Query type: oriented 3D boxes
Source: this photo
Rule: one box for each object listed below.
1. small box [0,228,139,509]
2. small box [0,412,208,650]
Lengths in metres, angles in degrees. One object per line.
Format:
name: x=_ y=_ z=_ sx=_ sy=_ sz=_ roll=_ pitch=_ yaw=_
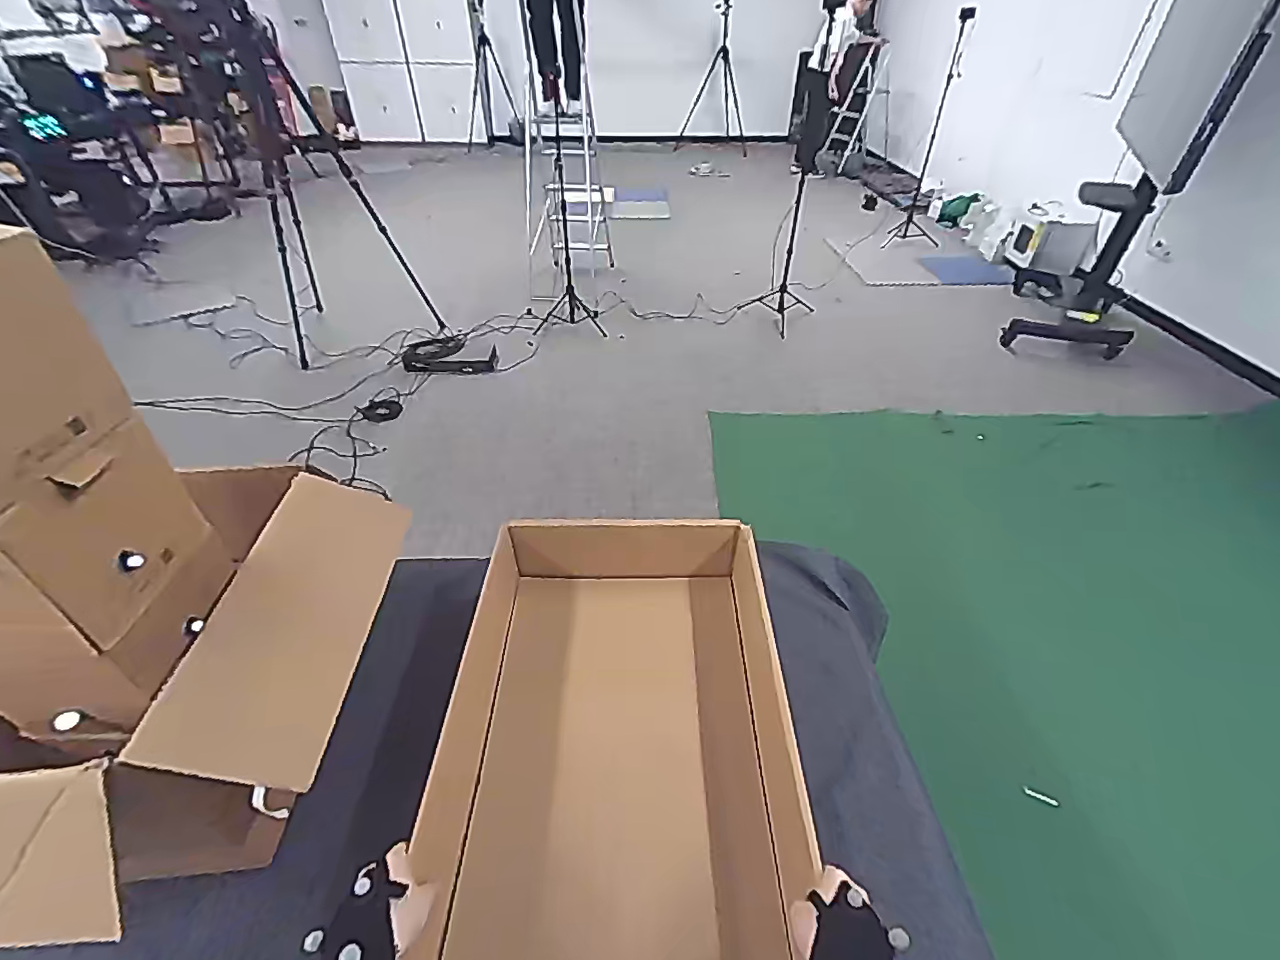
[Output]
small box: x=-0.559 y=-0.084 z=0.408 sx=0.179 sy=0.176 sz=0.168 roll=4 pitch=40 yaw=-3
small box: x=-0.573 y=0.043 z=0.511 sx=0.179 sy=0.176 sz=0.168 roll=4 pitch=40 yaw=-4
